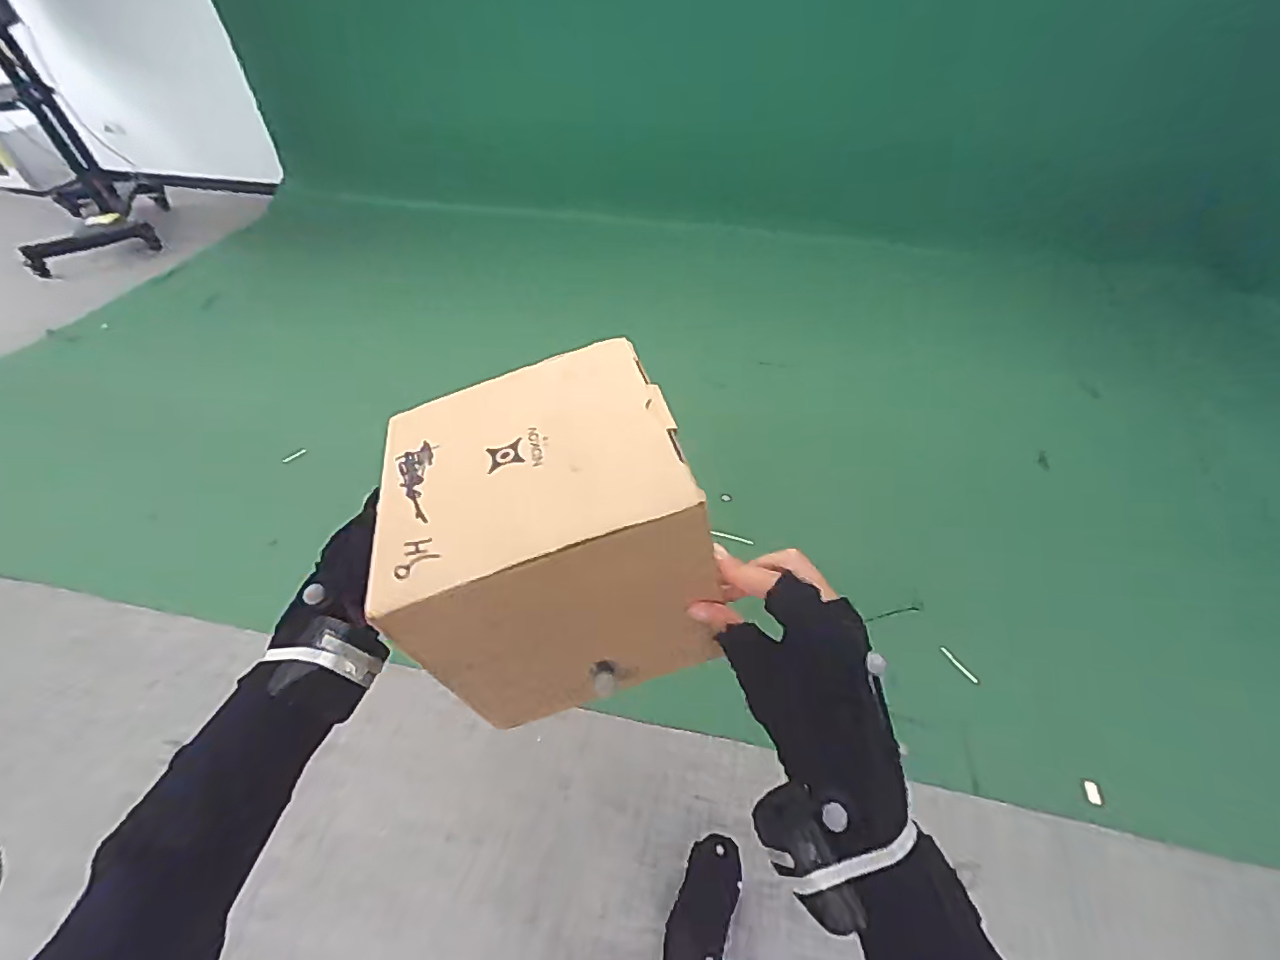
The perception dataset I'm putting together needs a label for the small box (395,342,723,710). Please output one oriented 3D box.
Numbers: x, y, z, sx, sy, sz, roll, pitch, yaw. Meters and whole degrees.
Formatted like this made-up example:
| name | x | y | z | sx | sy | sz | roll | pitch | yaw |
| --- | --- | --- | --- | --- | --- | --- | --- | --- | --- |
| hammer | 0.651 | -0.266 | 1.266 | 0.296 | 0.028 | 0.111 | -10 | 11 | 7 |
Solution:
| name | x | y | z | sx | sy | sz | roll | pitch | yaw |
| --- | --- | --- | --- | --- | --- | --- | --- | --- | --- |
| small box | -0.047 | 0.036 | 0.388 | 0.179 | 0.176 | 0.168 | -19 | 47 | -2 |
